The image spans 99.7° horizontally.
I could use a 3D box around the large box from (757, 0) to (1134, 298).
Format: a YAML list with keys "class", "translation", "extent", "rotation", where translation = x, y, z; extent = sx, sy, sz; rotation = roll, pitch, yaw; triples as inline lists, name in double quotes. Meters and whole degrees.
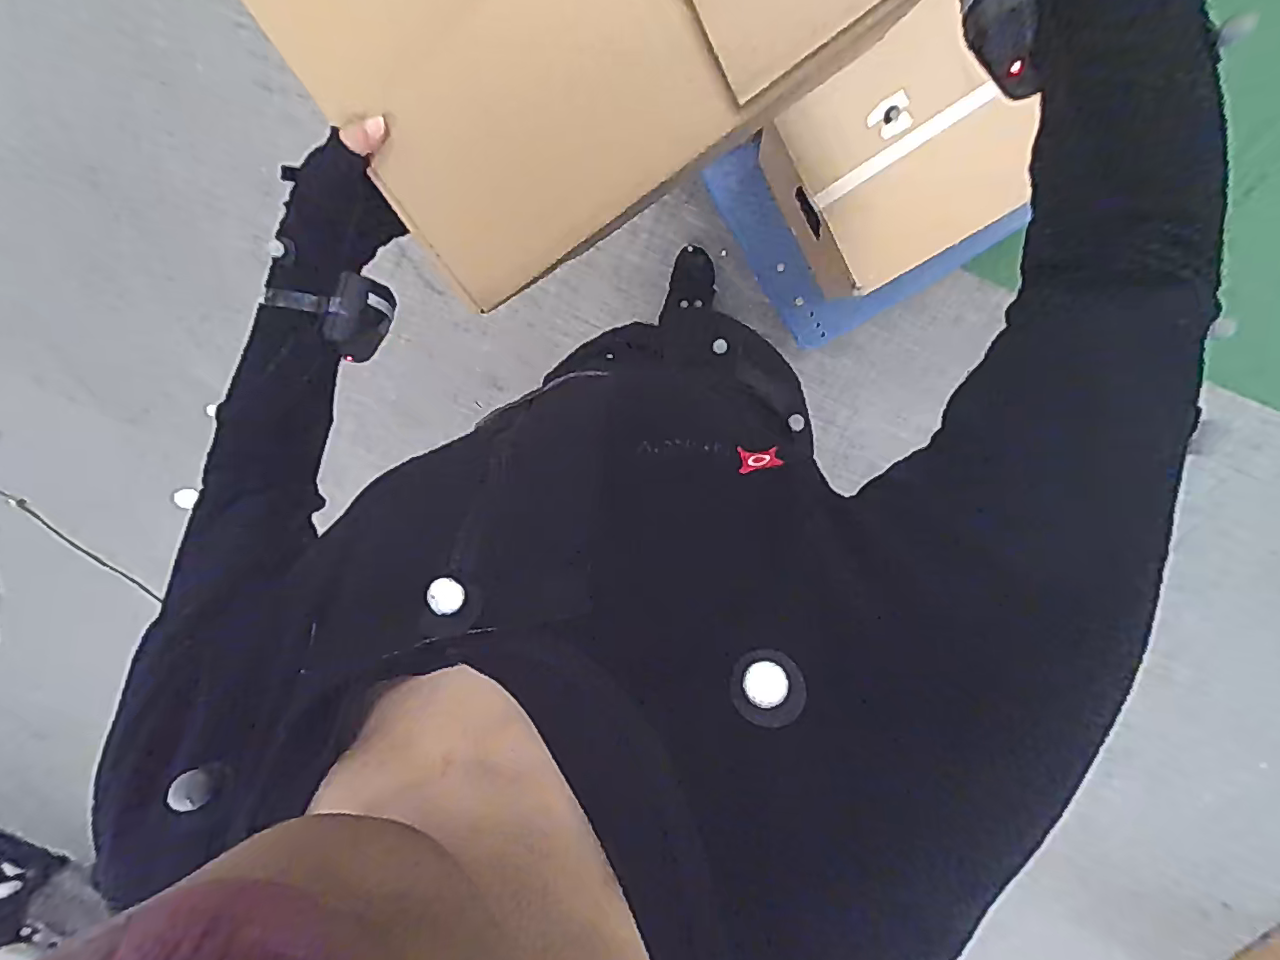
- class: "large box"
  translation: [0.444, -0.546, 0.889]
  extent: [0.408, 0.320, 0.320]
  rotation: [-28, 100, 18]
